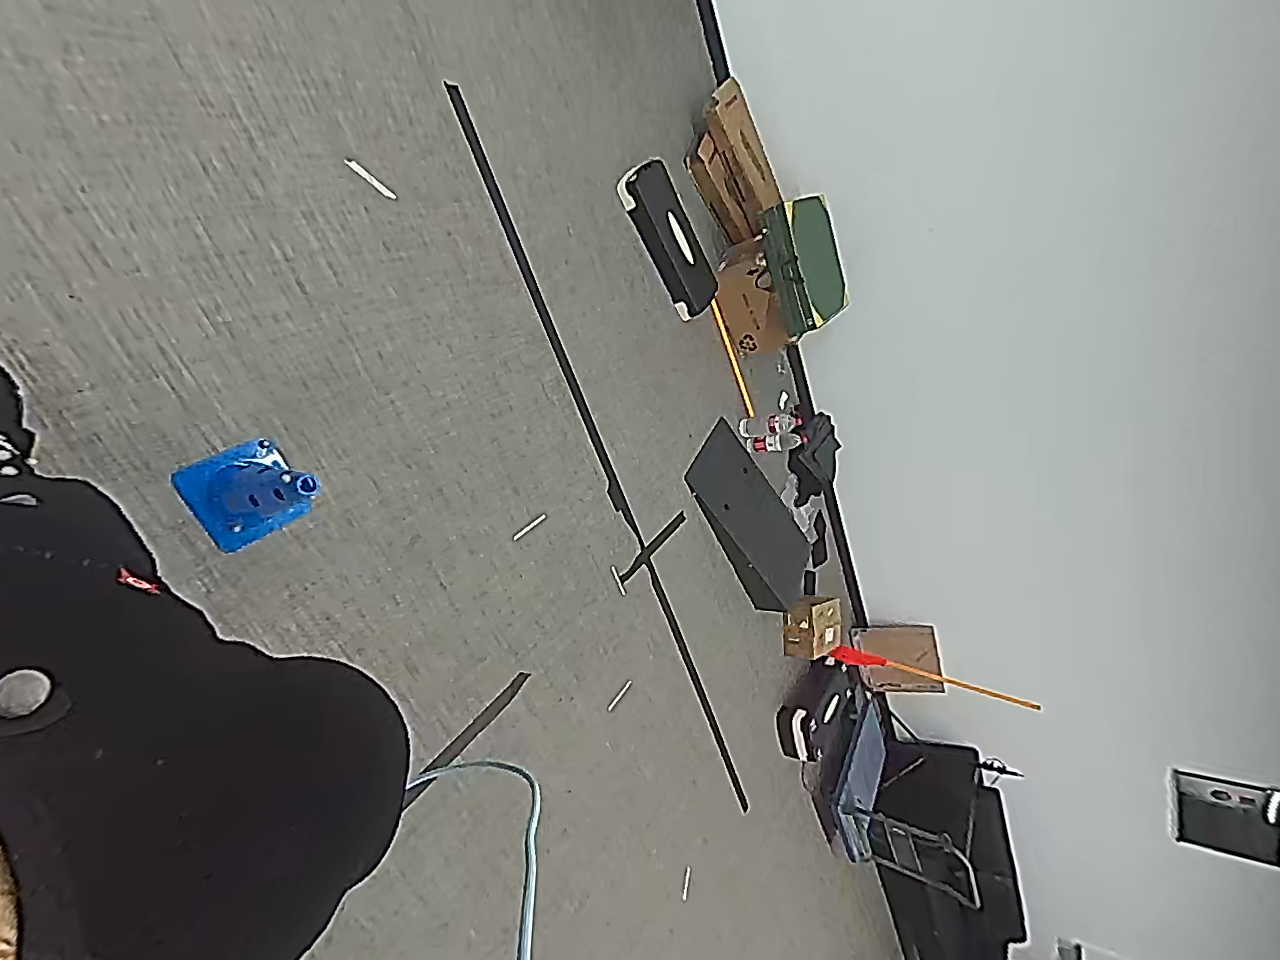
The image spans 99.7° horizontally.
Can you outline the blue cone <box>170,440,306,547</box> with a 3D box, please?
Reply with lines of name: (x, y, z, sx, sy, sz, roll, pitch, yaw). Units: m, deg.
blue cone: (-0.742, 0.020, 1.069, 0.193, 0.380, 0.192, -40, 116, -45)
